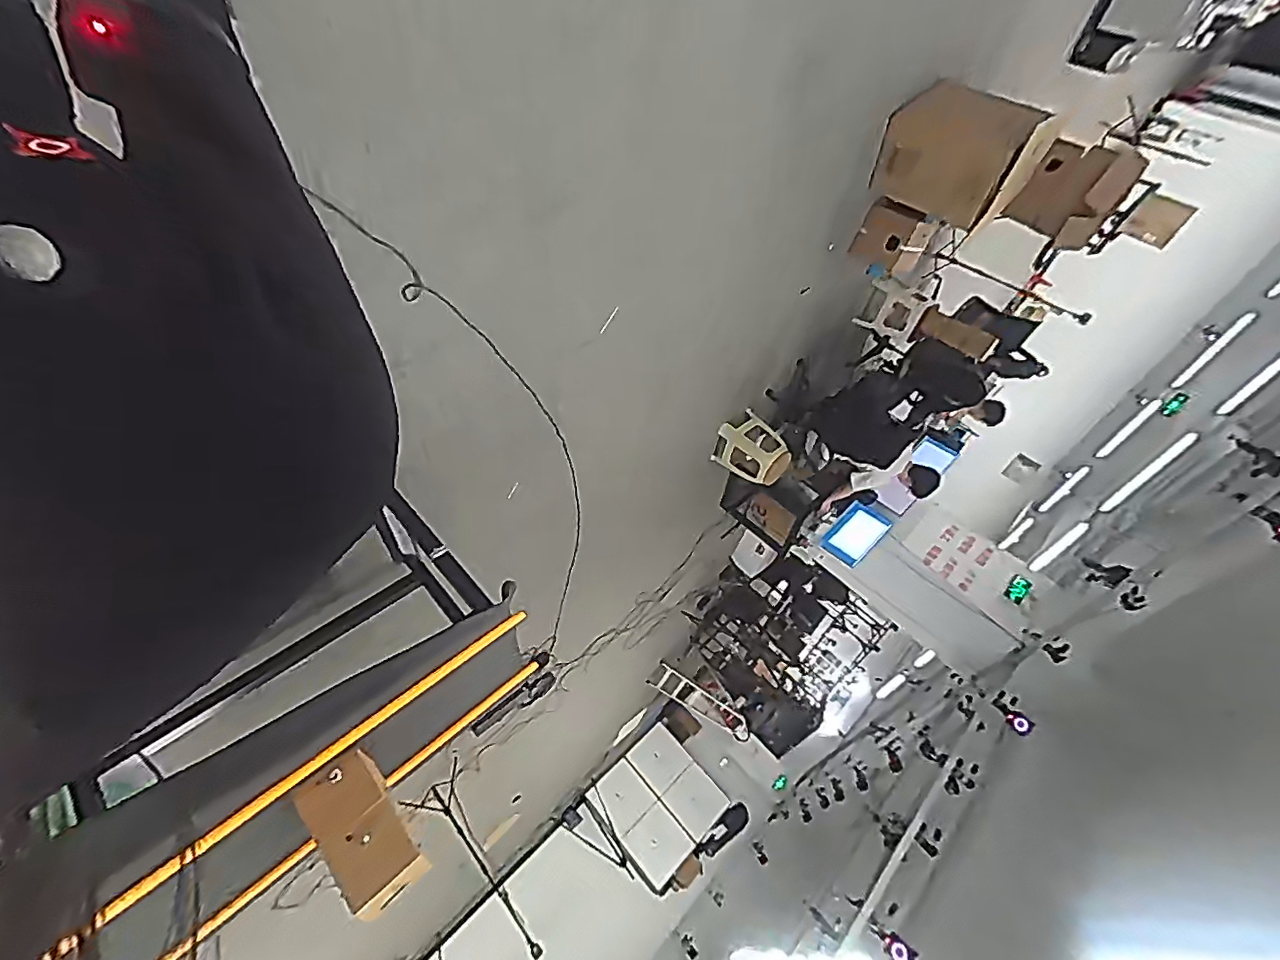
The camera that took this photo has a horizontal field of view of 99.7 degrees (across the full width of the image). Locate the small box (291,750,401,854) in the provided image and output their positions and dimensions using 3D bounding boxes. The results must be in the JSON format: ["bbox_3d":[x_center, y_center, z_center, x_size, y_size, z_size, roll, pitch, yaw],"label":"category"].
[{"bbox_3d":[-0.750,0.830,1.388,0.168,0.176,0.179,-36,151,-30],"label":"small box"}]

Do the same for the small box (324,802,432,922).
[{"bbox_3d":[-0.637,0.930,1.324,0.168,0.176,0.179,-34,150,-34],"label":"small box"}]
